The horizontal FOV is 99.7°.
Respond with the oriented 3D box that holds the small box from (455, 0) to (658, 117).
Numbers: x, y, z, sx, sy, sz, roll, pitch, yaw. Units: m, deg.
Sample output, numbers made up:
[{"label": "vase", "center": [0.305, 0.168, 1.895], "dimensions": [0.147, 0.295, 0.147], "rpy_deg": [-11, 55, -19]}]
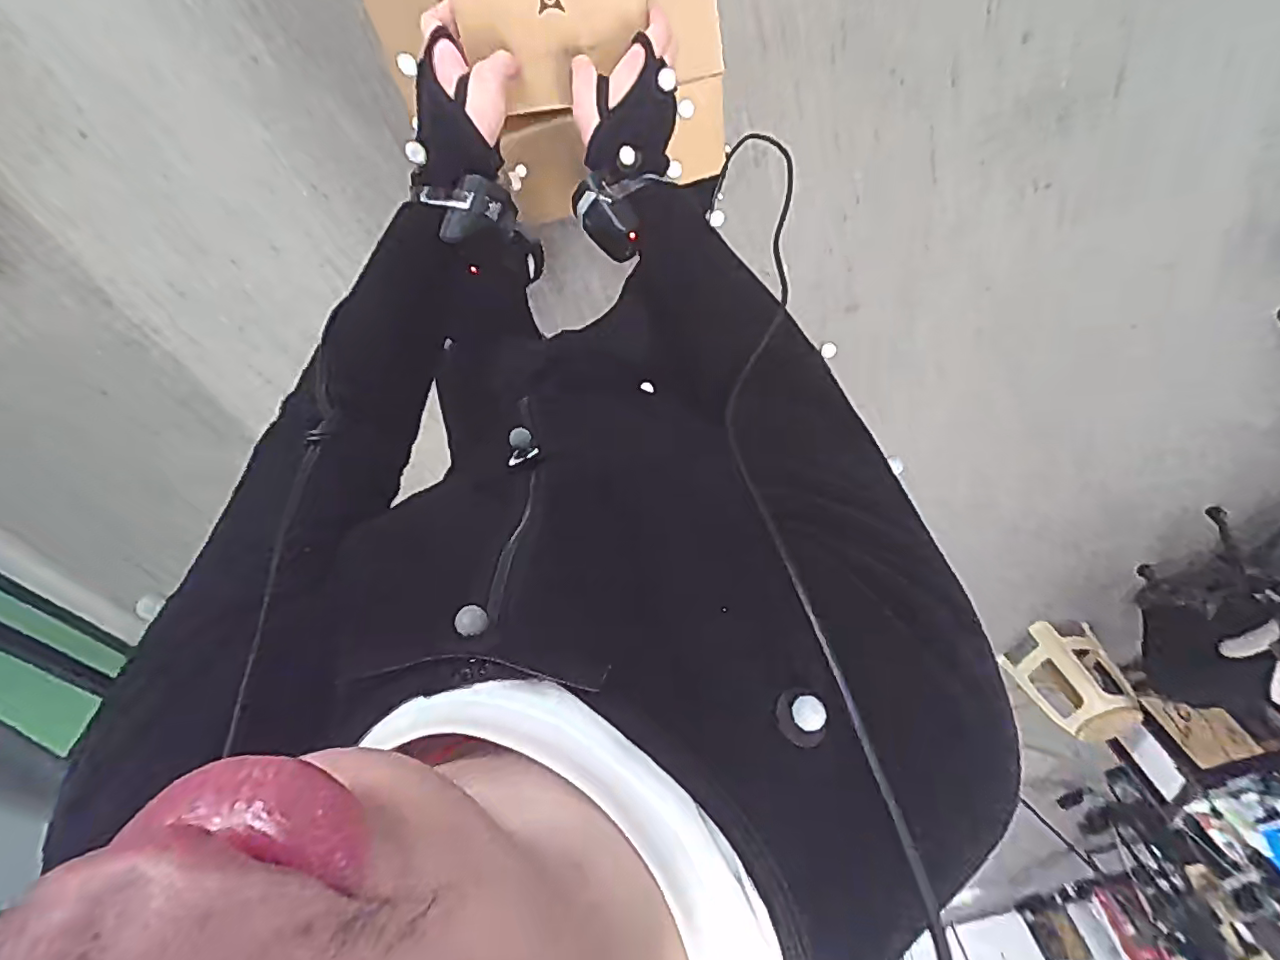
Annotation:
[{"label": "small box", "center": [-0.077, -0.462, 0.478], "dimensions": [0.168, 0.176, 0.179], "rpy_deg": [-7, 146, 1]}]
